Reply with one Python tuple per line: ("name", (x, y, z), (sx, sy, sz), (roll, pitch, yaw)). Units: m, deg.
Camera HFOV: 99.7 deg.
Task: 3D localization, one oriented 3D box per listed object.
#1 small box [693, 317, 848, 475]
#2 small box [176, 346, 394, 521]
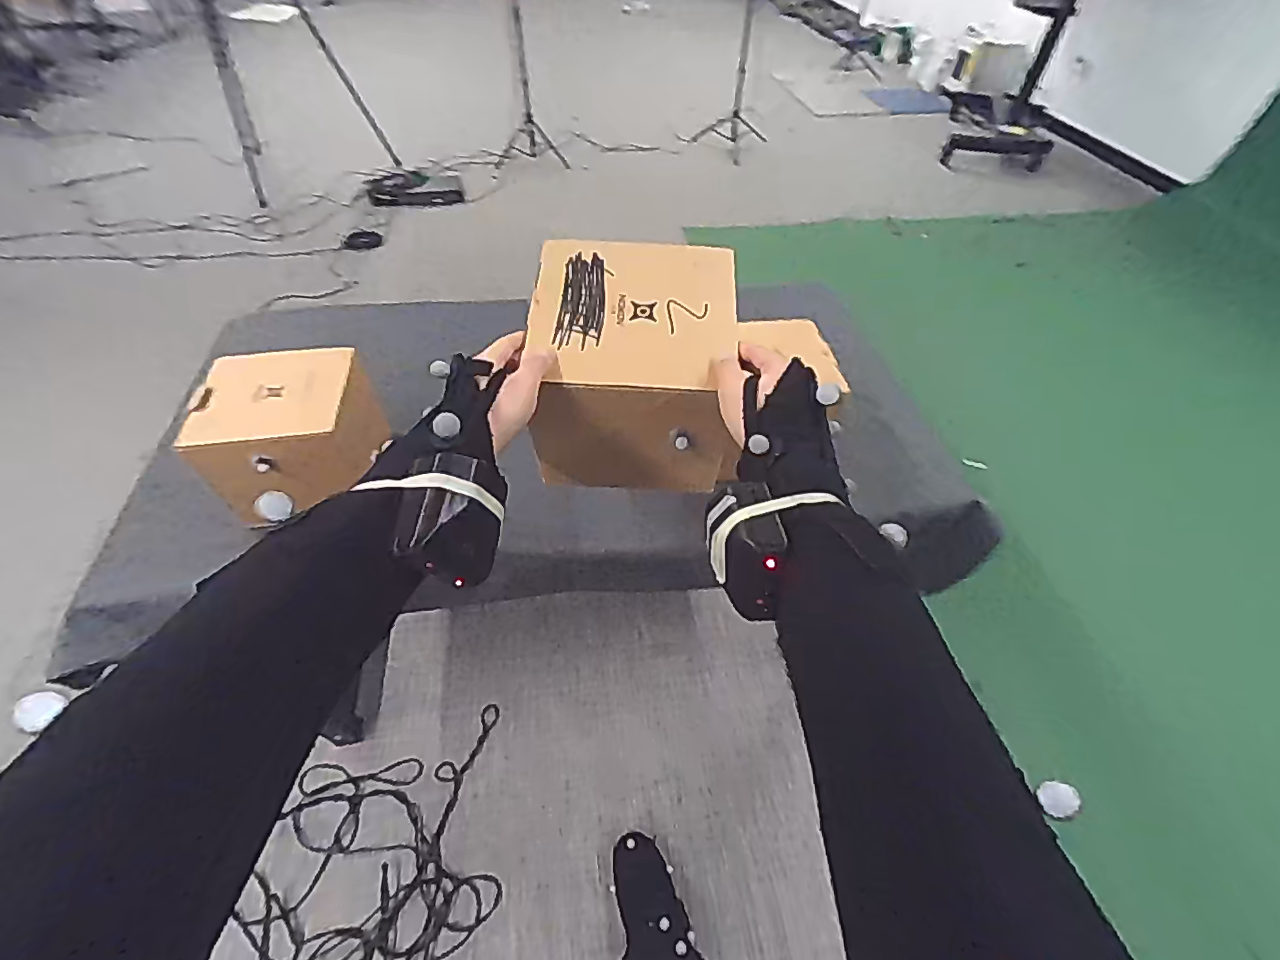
("small box", (0.177, -0.121, 0.804), (0.179, 0.176, 0.168), (-4, 50, -5))
("small box", (-0.460, -0.059, 0.735), (0.179, 0.176, 0.168), (-7, 52, -8))
